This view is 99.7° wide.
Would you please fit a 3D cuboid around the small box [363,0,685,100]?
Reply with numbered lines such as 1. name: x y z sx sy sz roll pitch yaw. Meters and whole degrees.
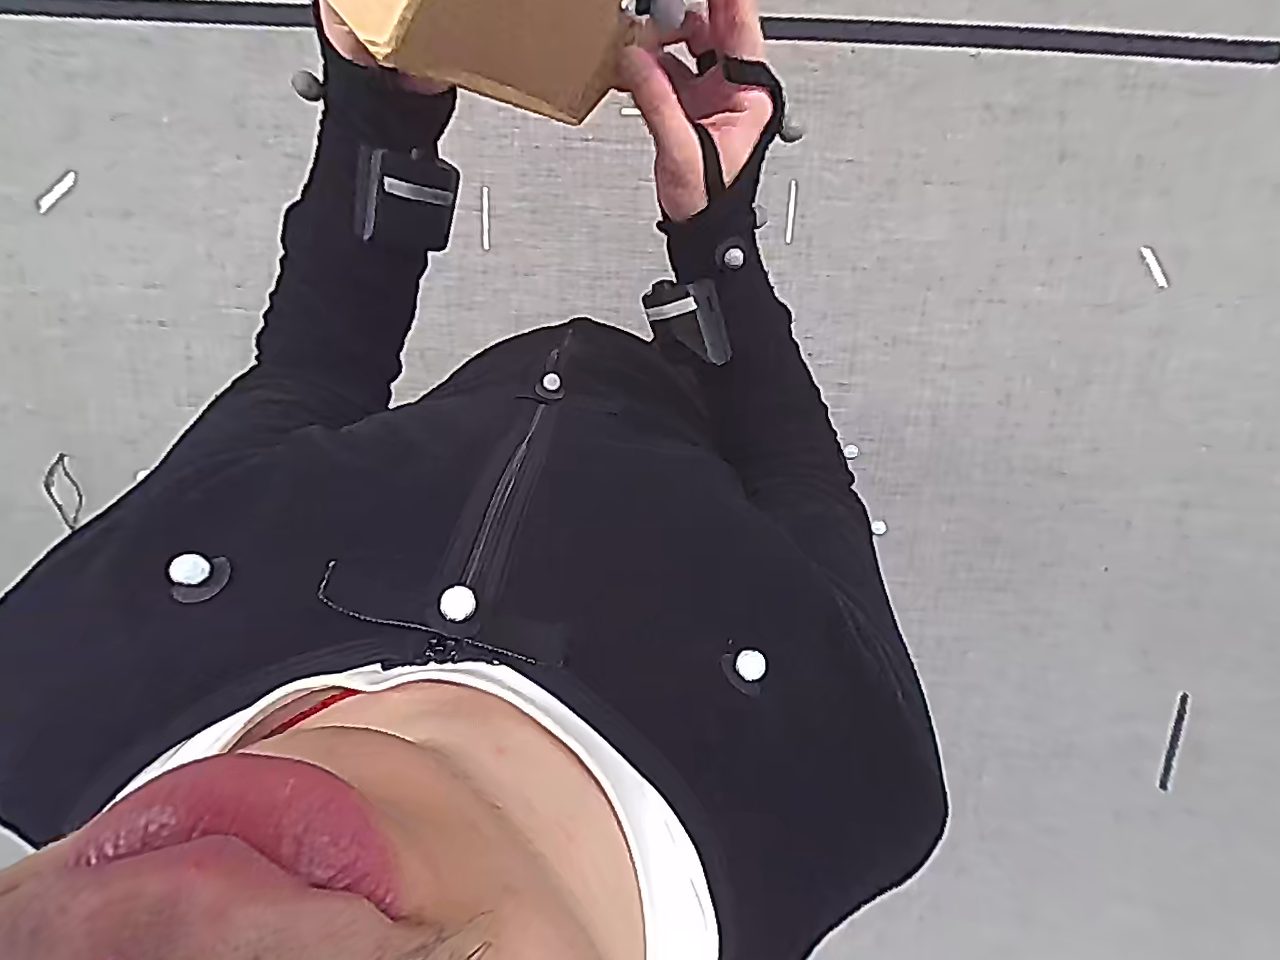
1. small box: -0.052 -0.279 0.194 0.168 0.176 0.179 -37 100 31
